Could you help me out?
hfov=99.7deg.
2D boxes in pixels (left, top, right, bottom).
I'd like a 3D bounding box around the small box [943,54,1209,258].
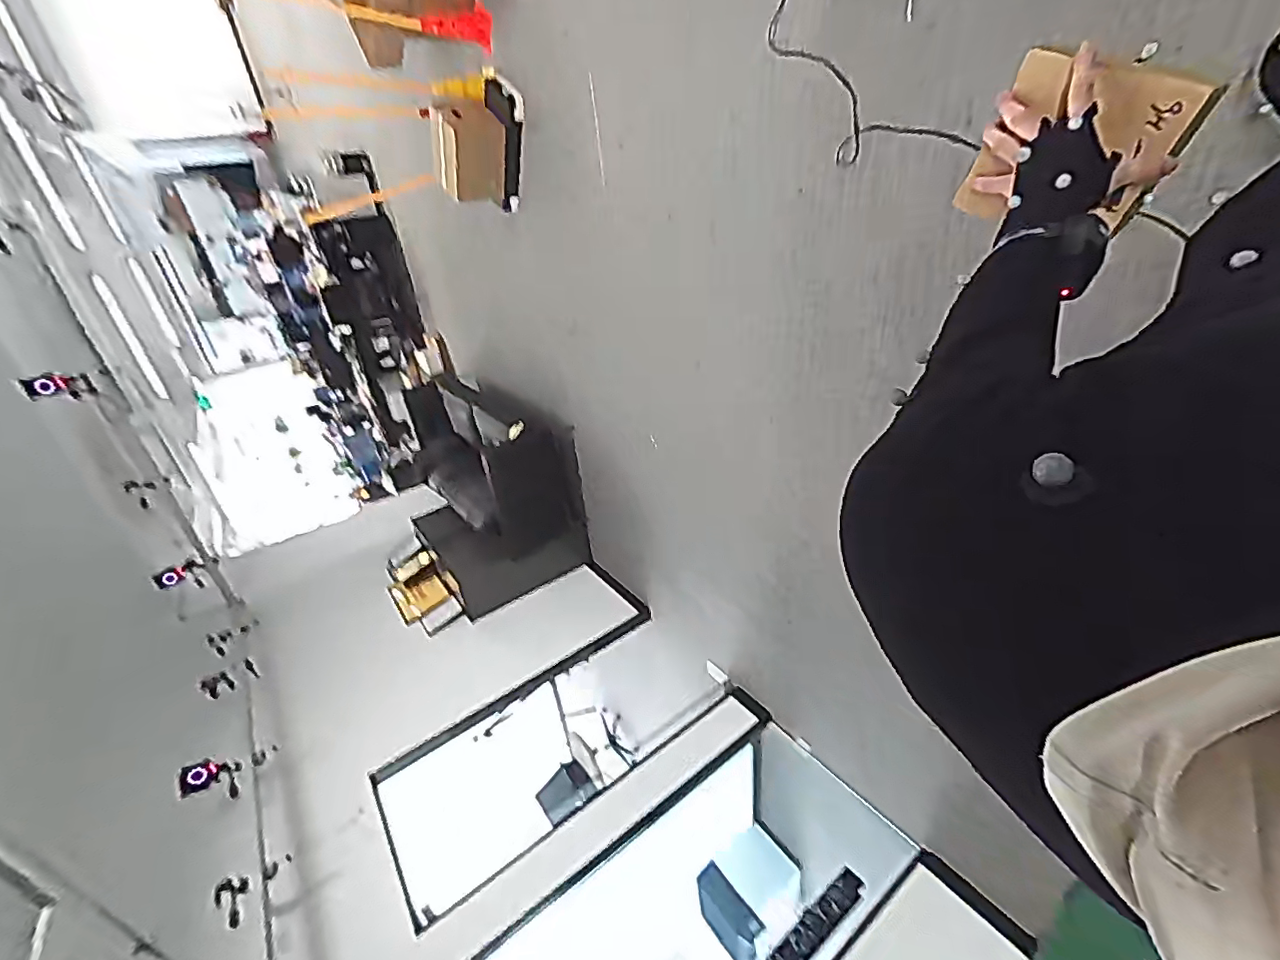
[{"bbox_3d":[0.521,-0.397,0.657,0.179,0.176,0.168,39,142,26],"label":"small box"}]
